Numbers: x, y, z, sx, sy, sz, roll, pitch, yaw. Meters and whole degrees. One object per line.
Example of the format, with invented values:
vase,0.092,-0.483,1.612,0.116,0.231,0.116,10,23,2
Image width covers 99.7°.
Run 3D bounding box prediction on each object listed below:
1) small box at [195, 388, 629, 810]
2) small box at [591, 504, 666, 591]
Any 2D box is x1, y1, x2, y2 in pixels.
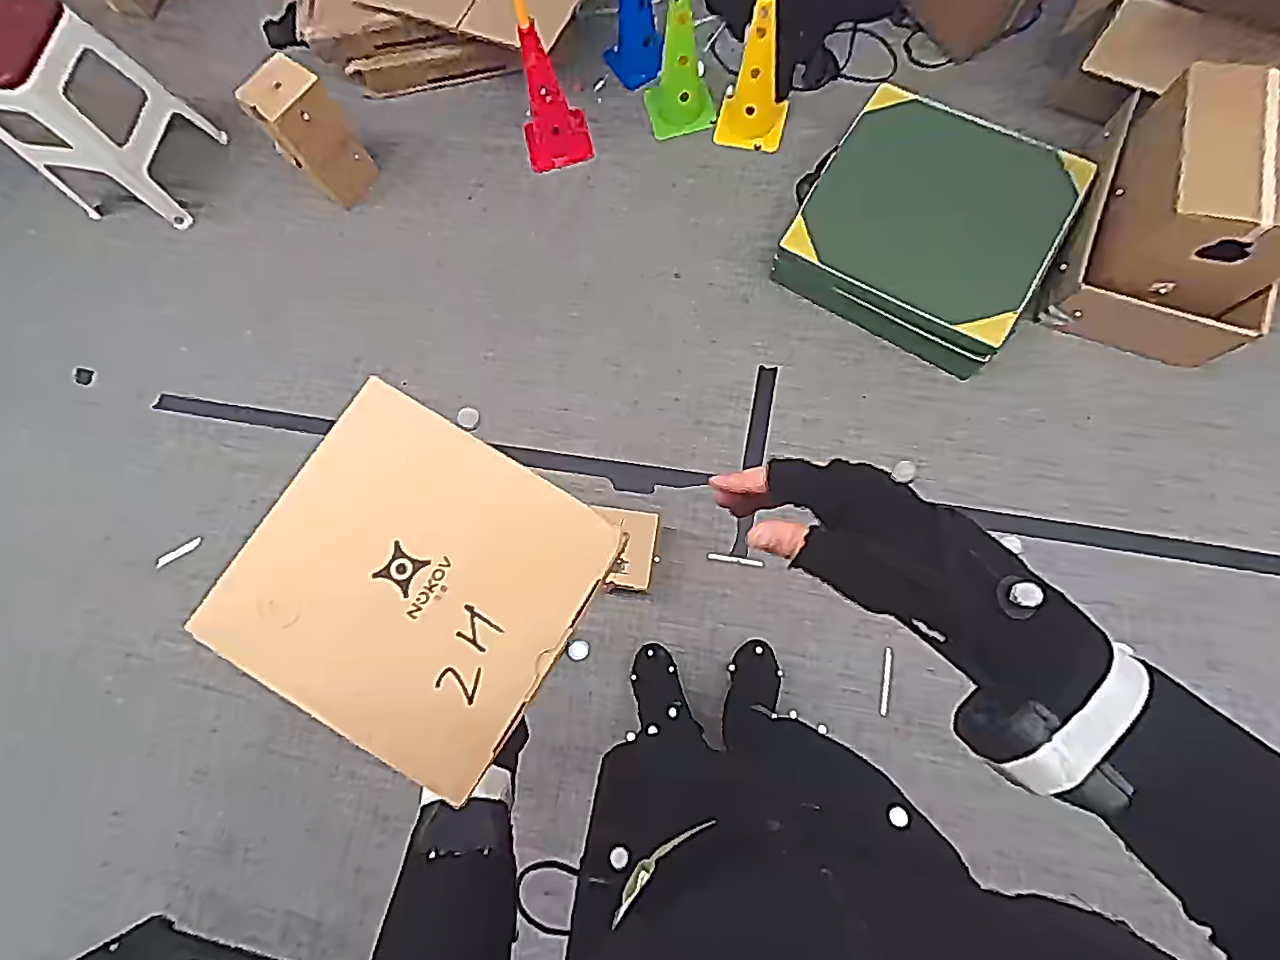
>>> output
small box,-0.126,0.071,0.374,0.179,0.176,0.168,35,82,2
small box,-0.031,0.170,1.311,0.168,0.176,0.179,7,76,8
